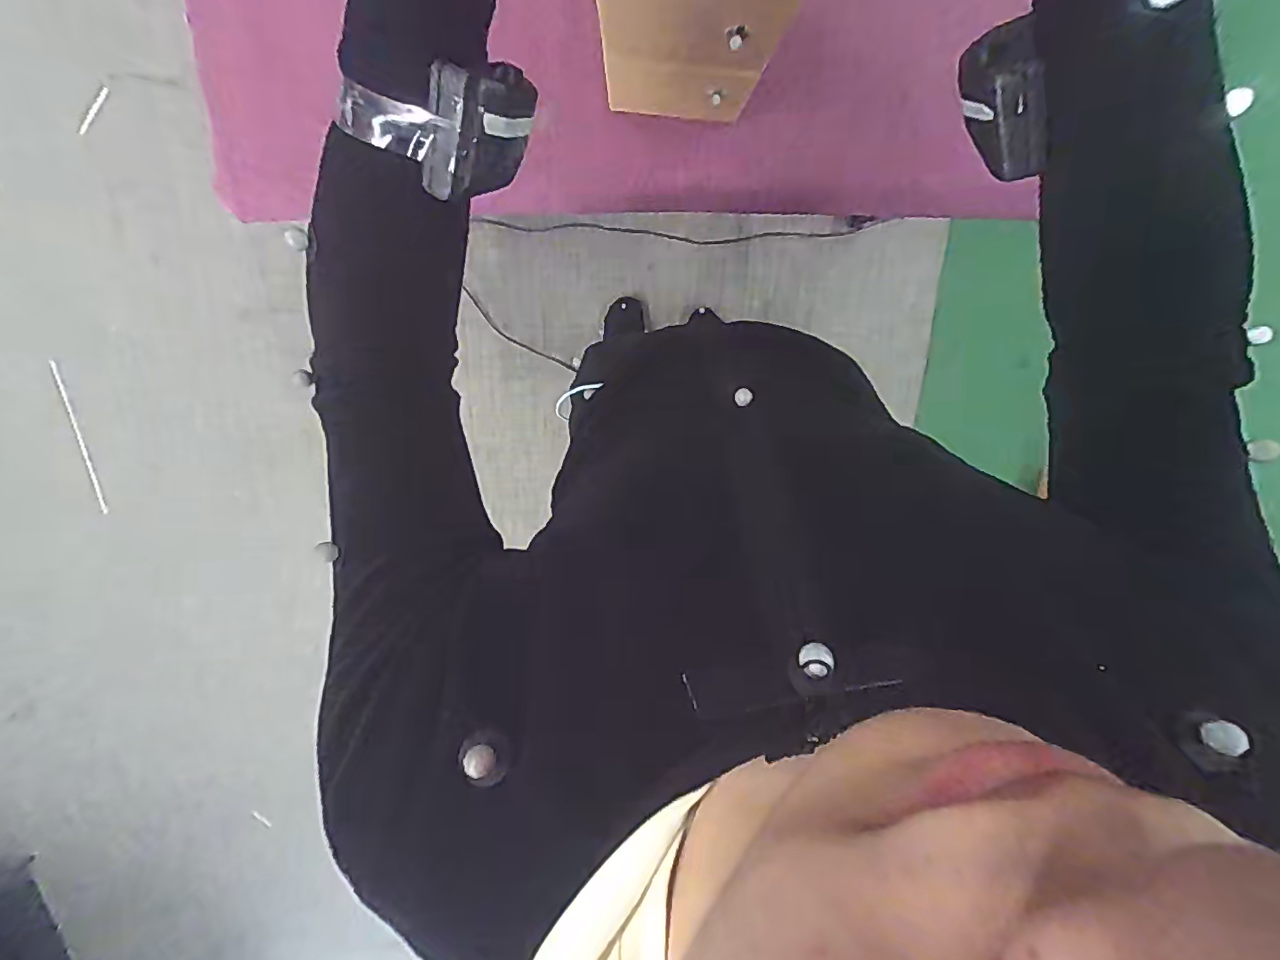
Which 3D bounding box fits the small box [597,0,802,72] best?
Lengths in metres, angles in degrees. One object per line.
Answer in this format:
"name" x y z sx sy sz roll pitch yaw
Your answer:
"small box" 0.055 -0.500 0.487 0.179 0.176 0.168 5 107 -1
